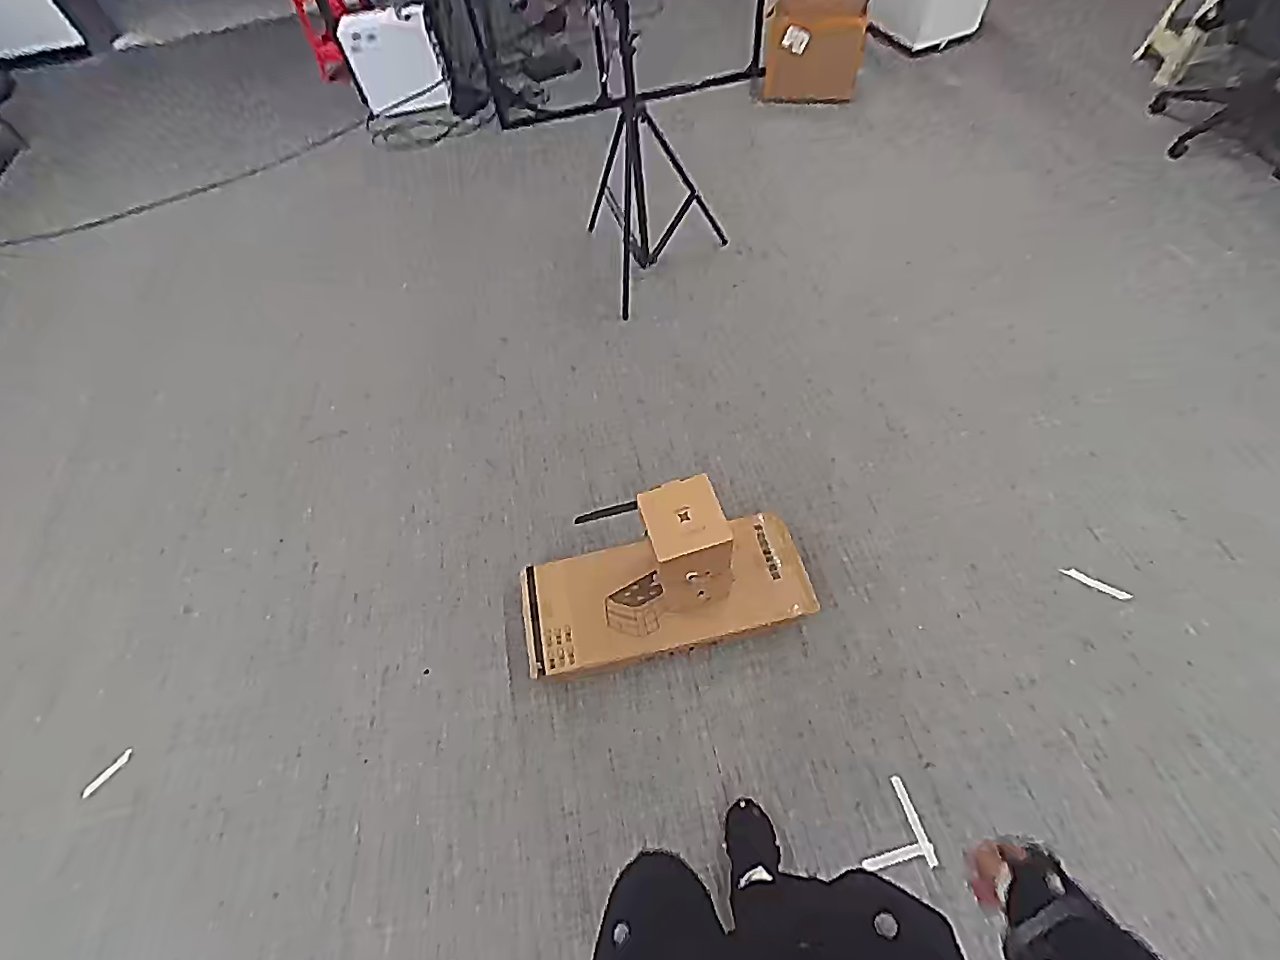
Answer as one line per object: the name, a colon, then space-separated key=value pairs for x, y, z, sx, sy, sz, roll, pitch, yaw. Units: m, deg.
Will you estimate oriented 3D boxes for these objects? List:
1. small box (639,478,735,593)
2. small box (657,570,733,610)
small box: x=0.102 y=0.128 z=1.212 sx=0.168 sy=0.176 sz=0.179 roll=-17 pitch=58 yaw=-4
small box: x=0.126 y=0.213 z=1.350 sx=0.168 sy=0.176 sz=0.179 roll=-15 pitch=58 yaw=-3
